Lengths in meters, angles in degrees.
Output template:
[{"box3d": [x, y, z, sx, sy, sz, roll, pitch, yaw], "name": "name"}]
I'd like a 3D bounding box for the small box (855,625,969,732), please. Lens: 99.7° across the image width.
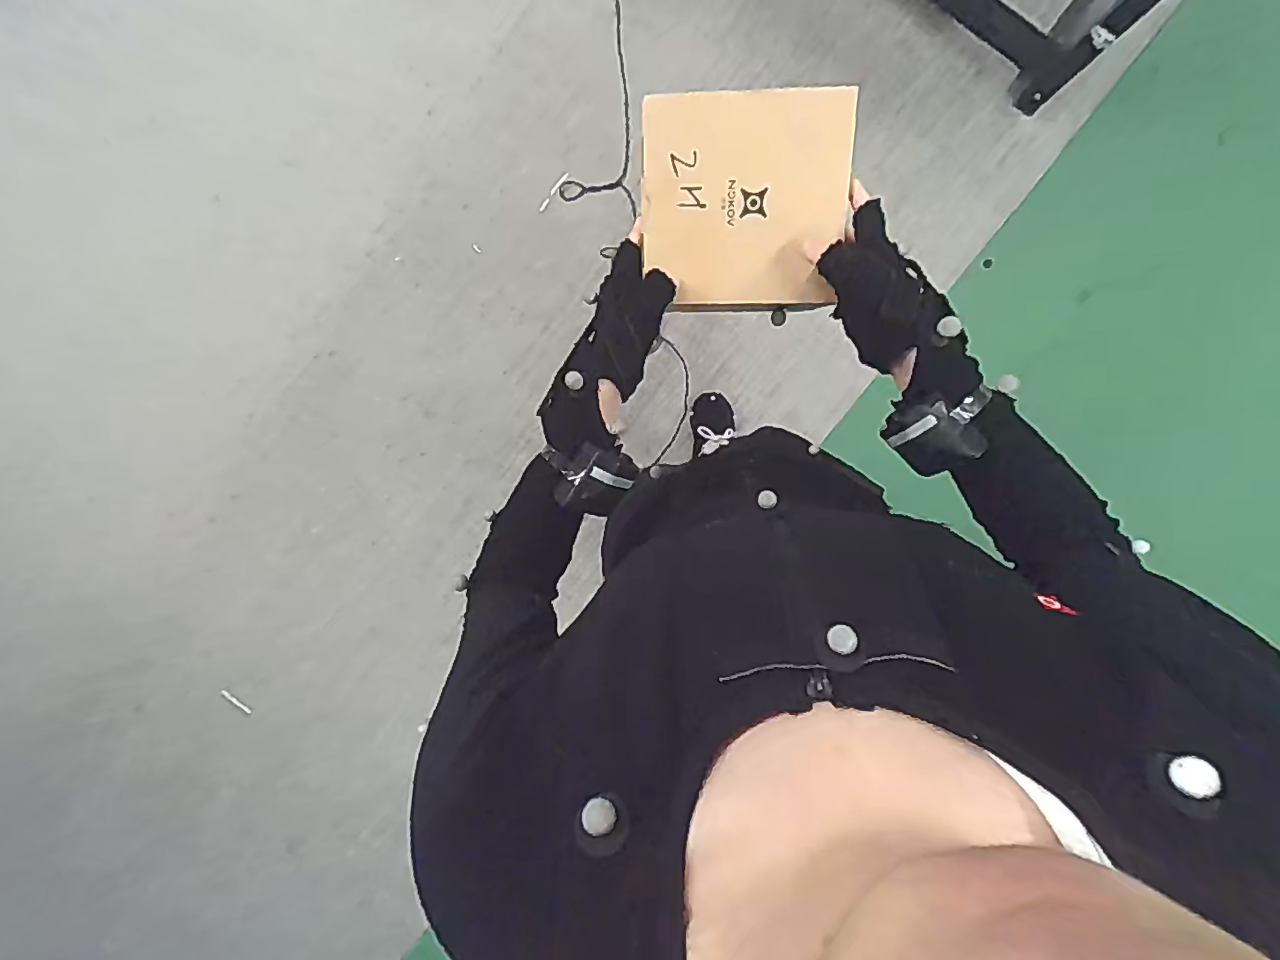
[{"box3d": [0.707, 0.514, 1.426, 0.179, 0.176, 0.168, 37, 95, 0], "name": "small box"}]
